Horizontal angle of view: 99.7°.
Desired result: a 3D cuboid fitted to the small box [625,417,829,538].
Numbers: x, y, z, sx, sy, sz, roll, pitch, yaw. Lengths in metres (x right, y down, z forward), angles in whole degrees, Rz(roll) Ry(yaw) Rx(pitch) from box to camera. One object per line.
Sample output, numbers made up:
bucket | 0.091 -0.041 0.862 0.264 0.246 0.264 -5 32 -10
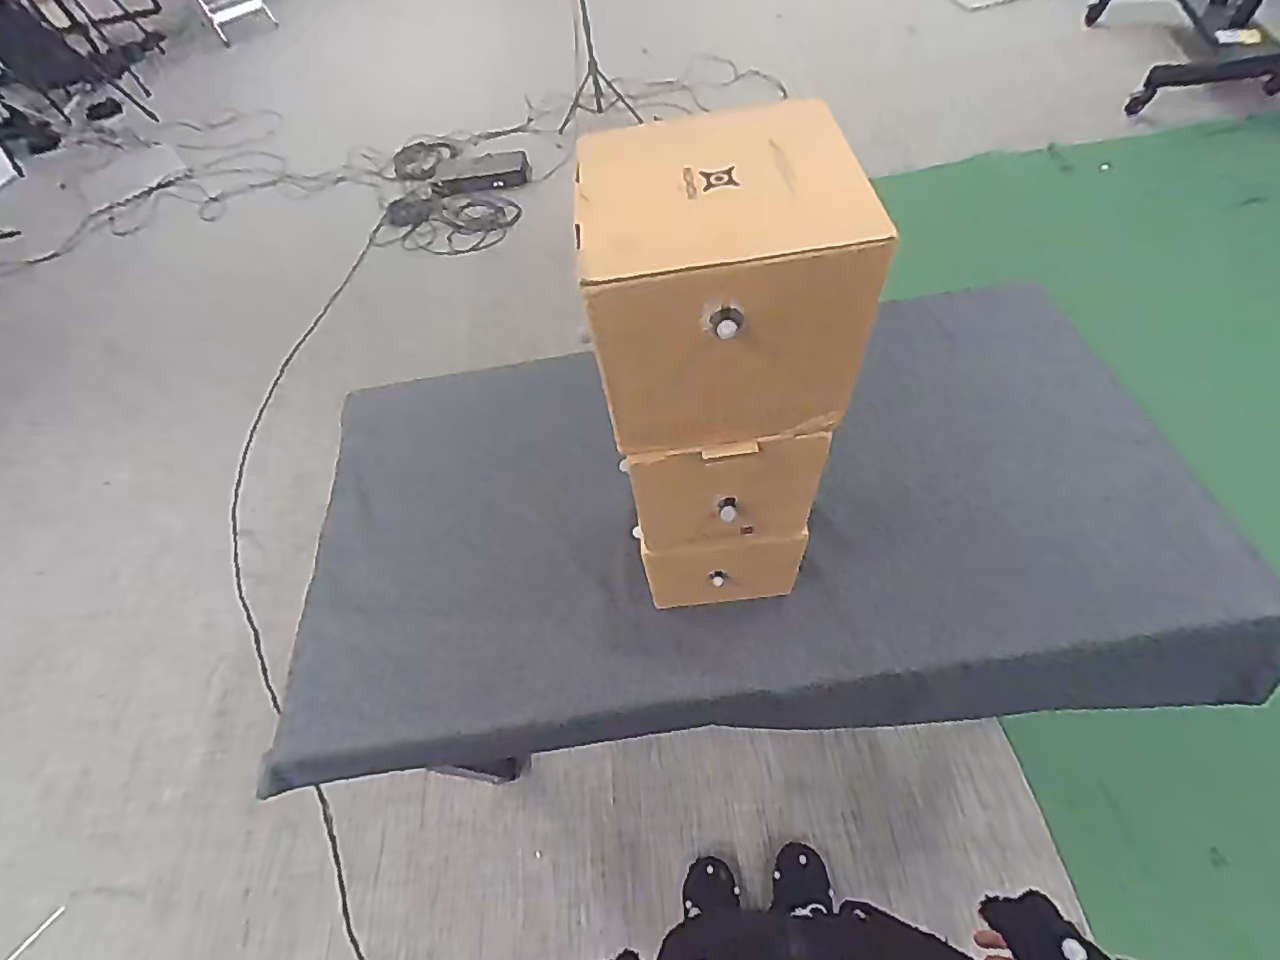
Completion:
small box | 0.073 -0.054 0.539 0.168 0.176 0.179 -8 57 3

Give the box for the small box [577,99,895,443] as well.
small box | 0.056 -0.143 0.403 0.179 0.176 0.168 -7 58 3

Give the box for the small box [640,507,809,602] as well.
small box | 0.094 0.040 0.671 0.179 0.176 0.168 -8 57 4
